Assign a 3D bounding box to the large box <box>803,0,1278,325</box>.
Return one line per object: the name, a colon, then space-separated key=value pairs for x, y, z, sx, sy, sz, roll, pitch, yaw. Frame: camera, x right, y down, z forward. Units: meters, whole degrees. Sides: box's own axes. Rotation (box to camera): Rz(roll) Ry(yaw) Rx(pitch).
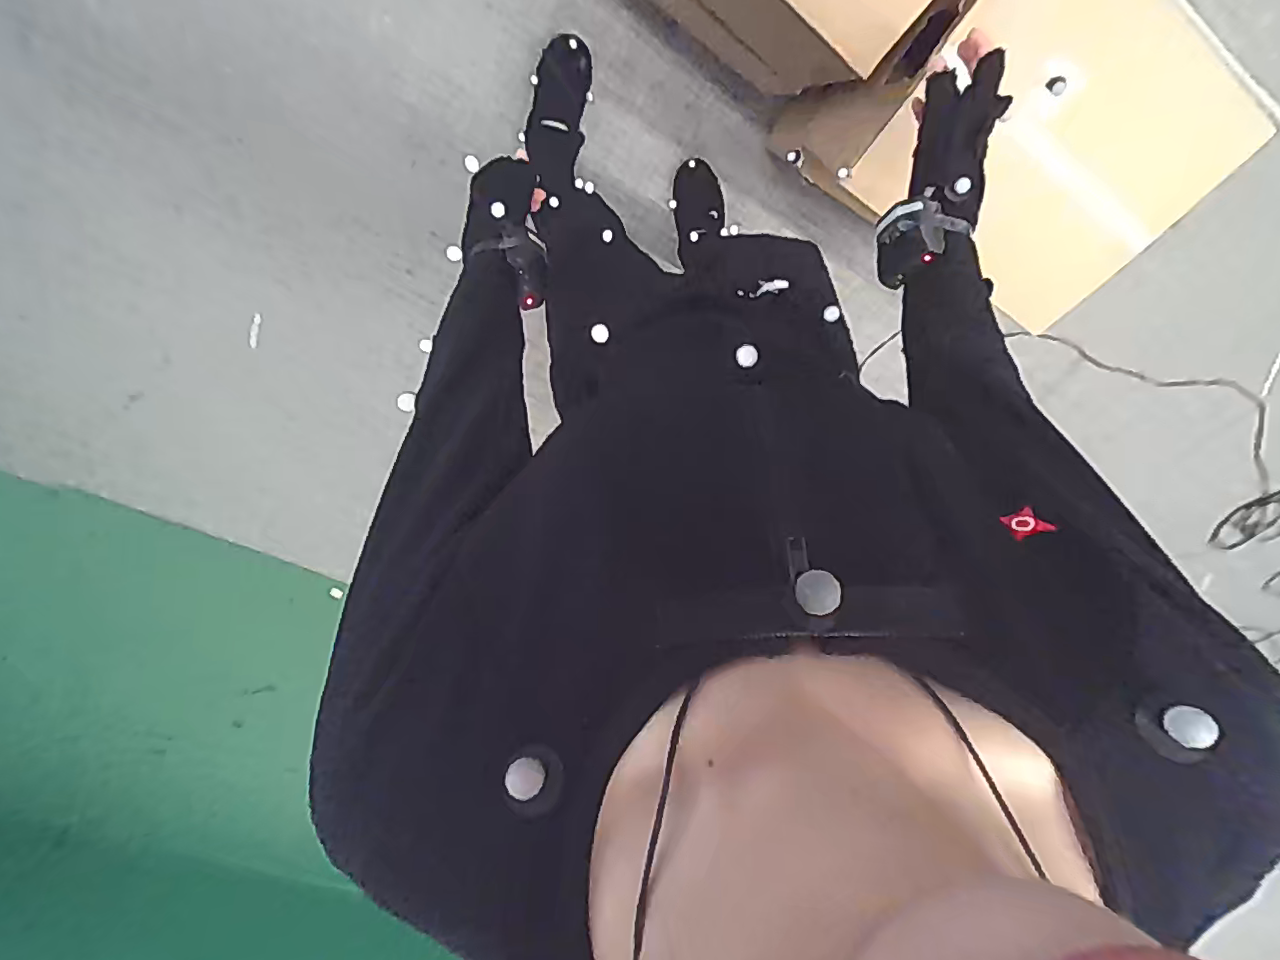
large box: x=0.507 y=-0.500 z=0.773 sx=0.408 sy=0.320 sz=0.320 roll=26 pitch=127 yaw=-16
